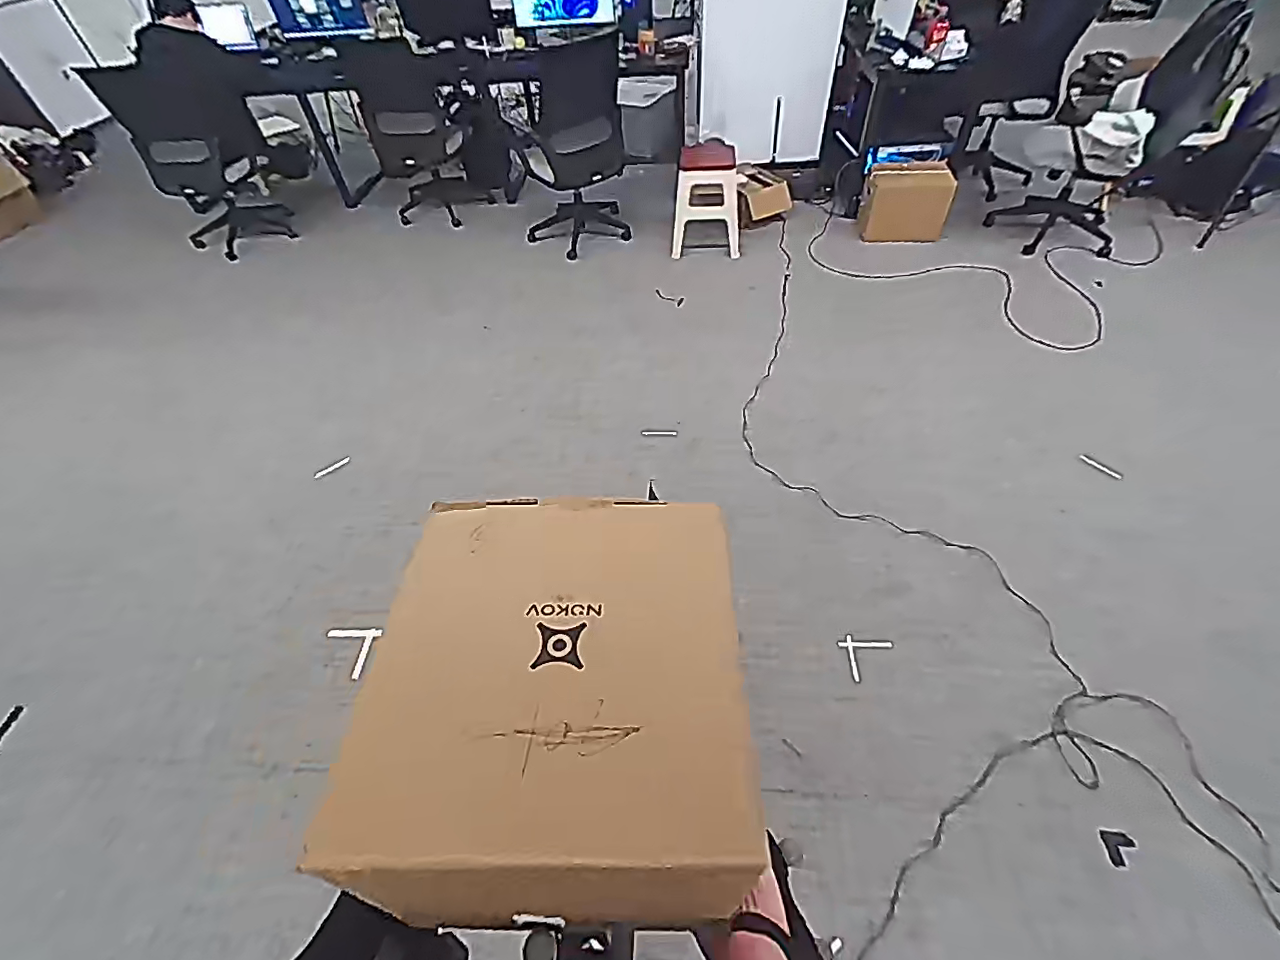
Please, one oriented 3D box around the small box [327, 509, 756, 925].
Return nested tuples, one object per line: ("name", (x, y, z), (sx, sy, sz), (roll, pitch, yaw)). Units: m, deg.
("small box", (-0.038, 0.136, 0.317), (0.168, 0.176, 0.179), (0, 45, 0))
